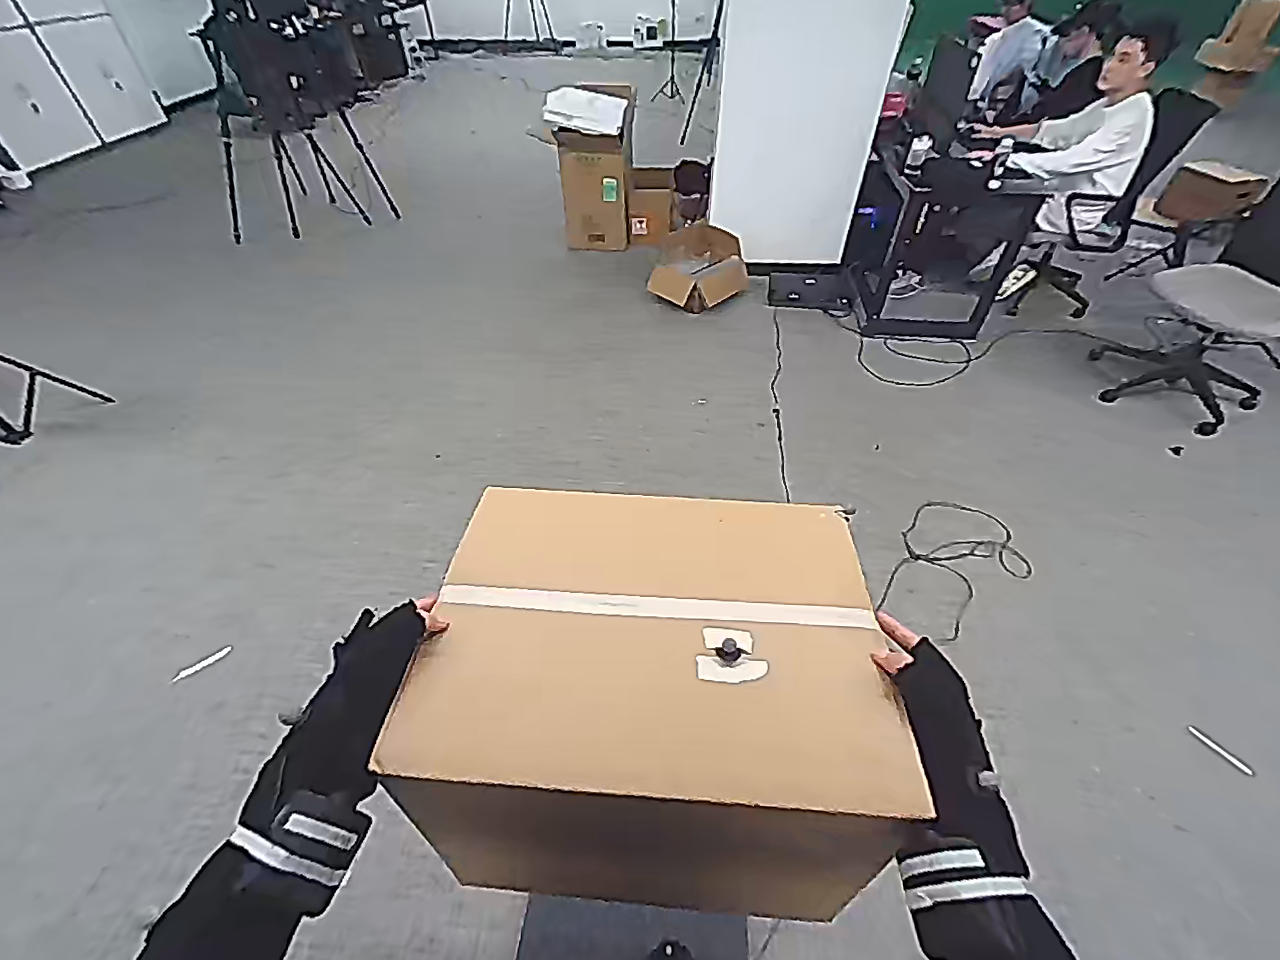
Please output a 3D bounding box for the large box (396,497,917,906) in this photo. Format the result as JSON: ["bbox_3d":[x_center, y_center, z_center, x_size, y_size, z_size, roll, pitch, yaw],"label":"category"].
[{"bbox_3d":[0.015,0.241,0.612,0.408,0.320,0.320,4,41,3],"label":"large box"}]
